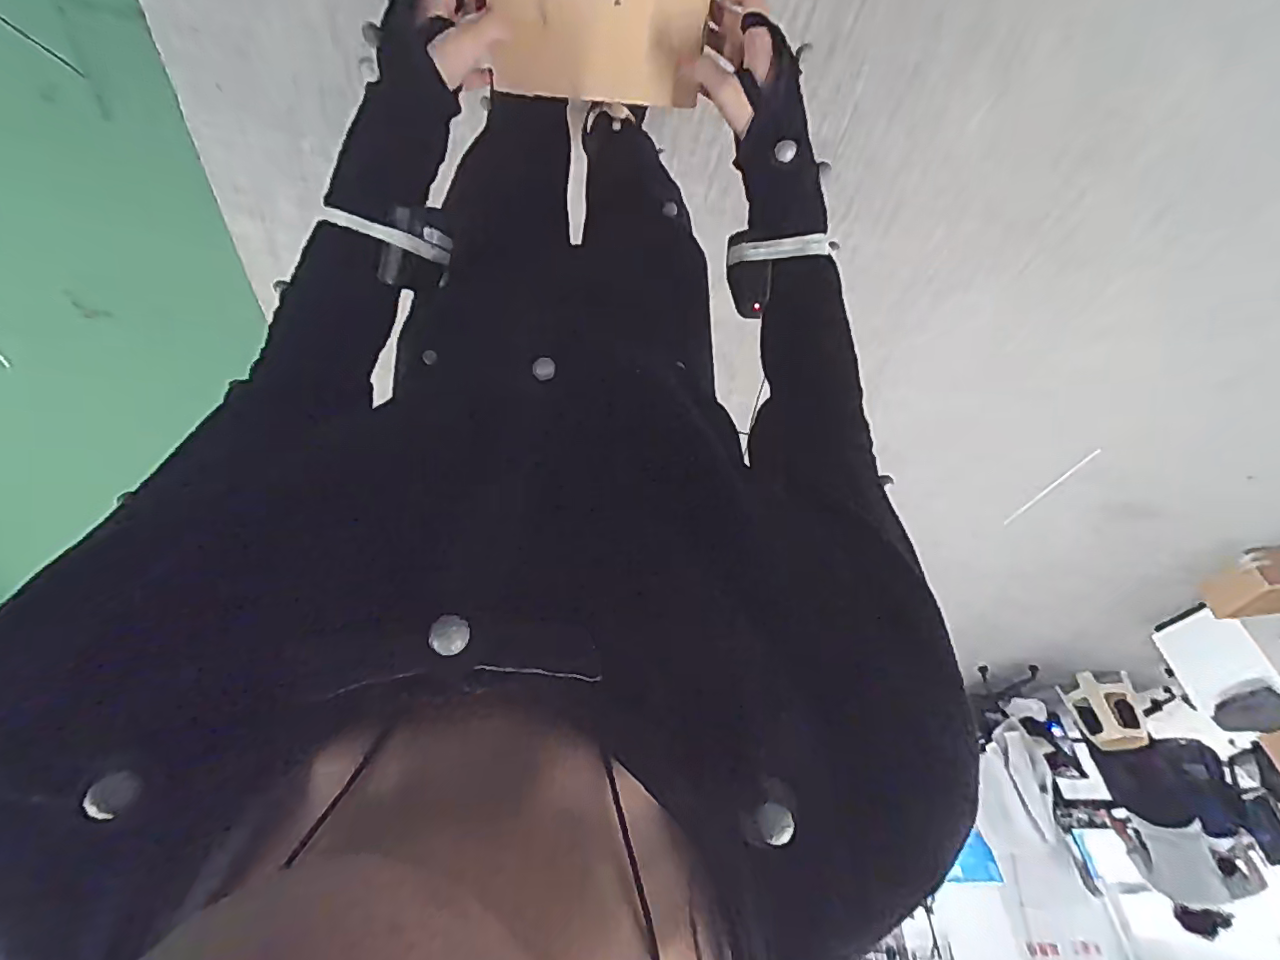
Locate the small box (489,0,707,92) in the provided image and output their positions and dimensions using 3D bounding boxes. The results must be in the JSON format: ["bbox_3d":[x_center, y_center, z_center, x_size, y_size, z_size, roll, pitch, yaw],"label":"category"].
[{"bbox_3d":[-0.033,-0.460,0.460,0.179,0.176,0.168,3,139,-5],"label":"small box"}]

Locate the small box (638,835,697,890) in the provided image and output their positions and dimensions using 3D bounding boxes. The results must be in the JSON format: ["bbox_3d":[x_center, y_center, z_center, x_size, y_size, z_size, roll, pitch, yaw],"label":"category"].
[{"bbox_3d":[0.106,1.515,2.141,0.179,0.176,0.168,19,138,-24],"label":"small box"}]
